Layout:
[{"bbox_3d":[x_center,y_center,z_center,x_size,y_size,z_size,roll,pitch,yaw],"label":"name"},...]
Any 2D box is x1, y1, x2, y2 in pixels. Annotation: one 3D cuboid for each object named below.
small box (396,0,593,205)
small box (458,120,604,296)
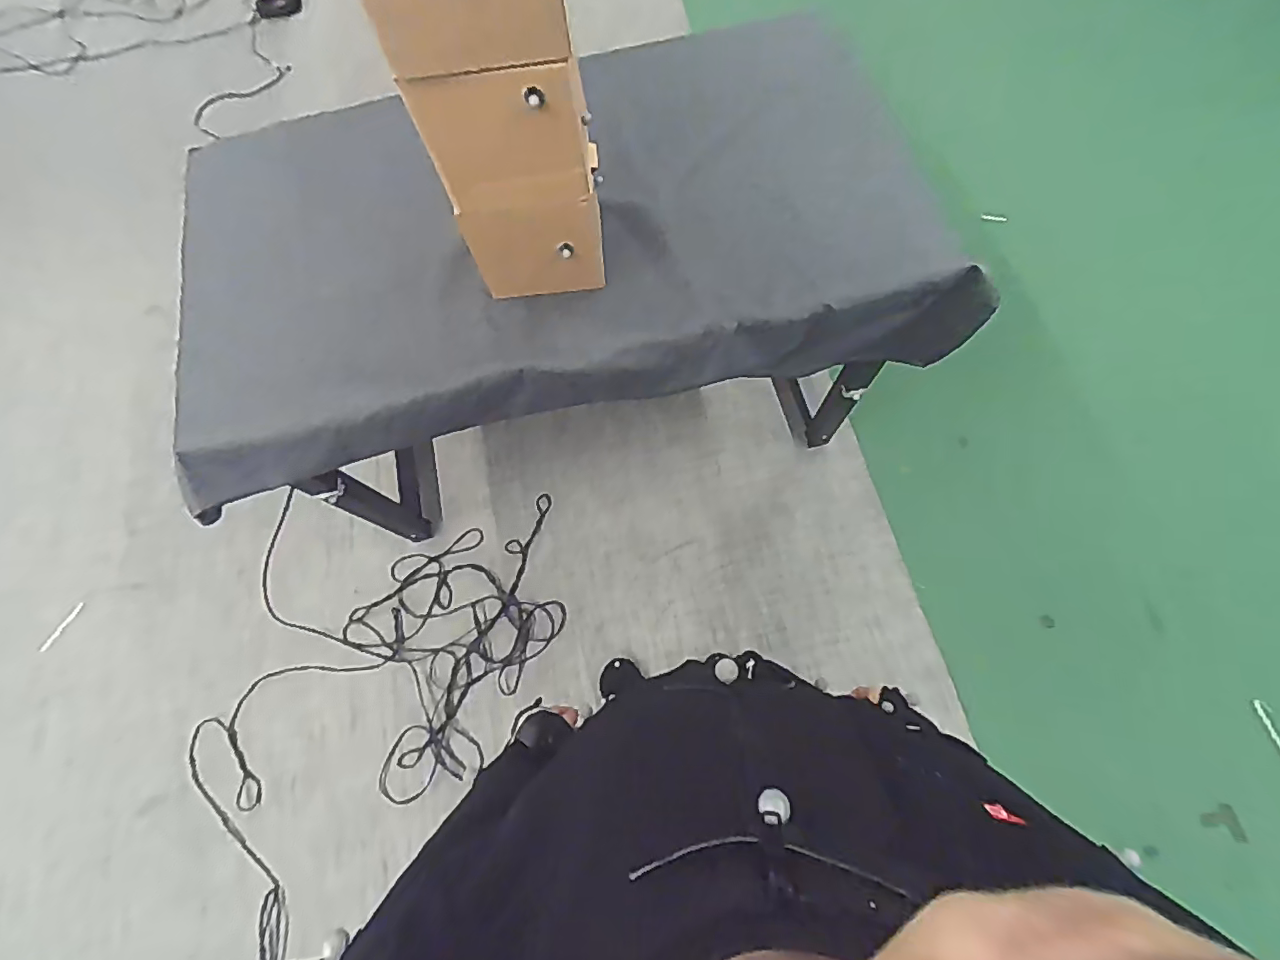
[{"bbox_3d":[-0.155,-0.448,0.628,0.179,0.176,0.168,-5,70,1],"label":"small box"},{"bbox_3d":[-0.146,-0.390,0.780,0.179,0.176,0.168,-6,70,2],"label":"small box"}]
